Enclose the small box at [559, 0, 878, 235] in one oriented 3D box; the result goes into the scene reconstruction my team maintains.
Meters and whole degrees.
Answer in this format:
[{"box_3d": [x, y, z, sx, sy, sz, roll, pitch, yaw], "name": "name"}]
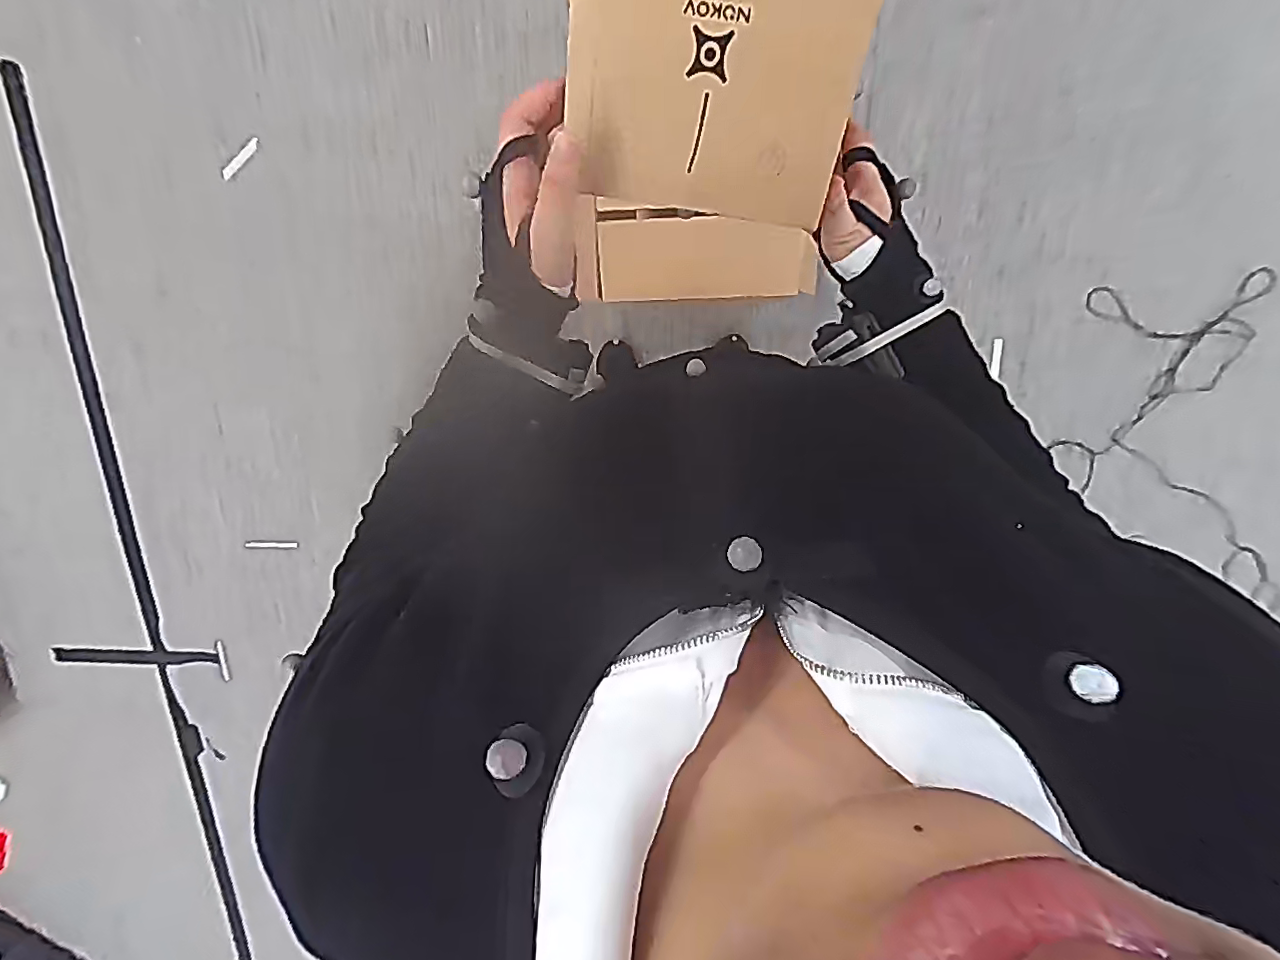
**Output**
[{"box_3d": [0.050, -0.285, 0.366, 0.168, 0.176, 0.179, 11, 124, 2], "name": "small box"}]
